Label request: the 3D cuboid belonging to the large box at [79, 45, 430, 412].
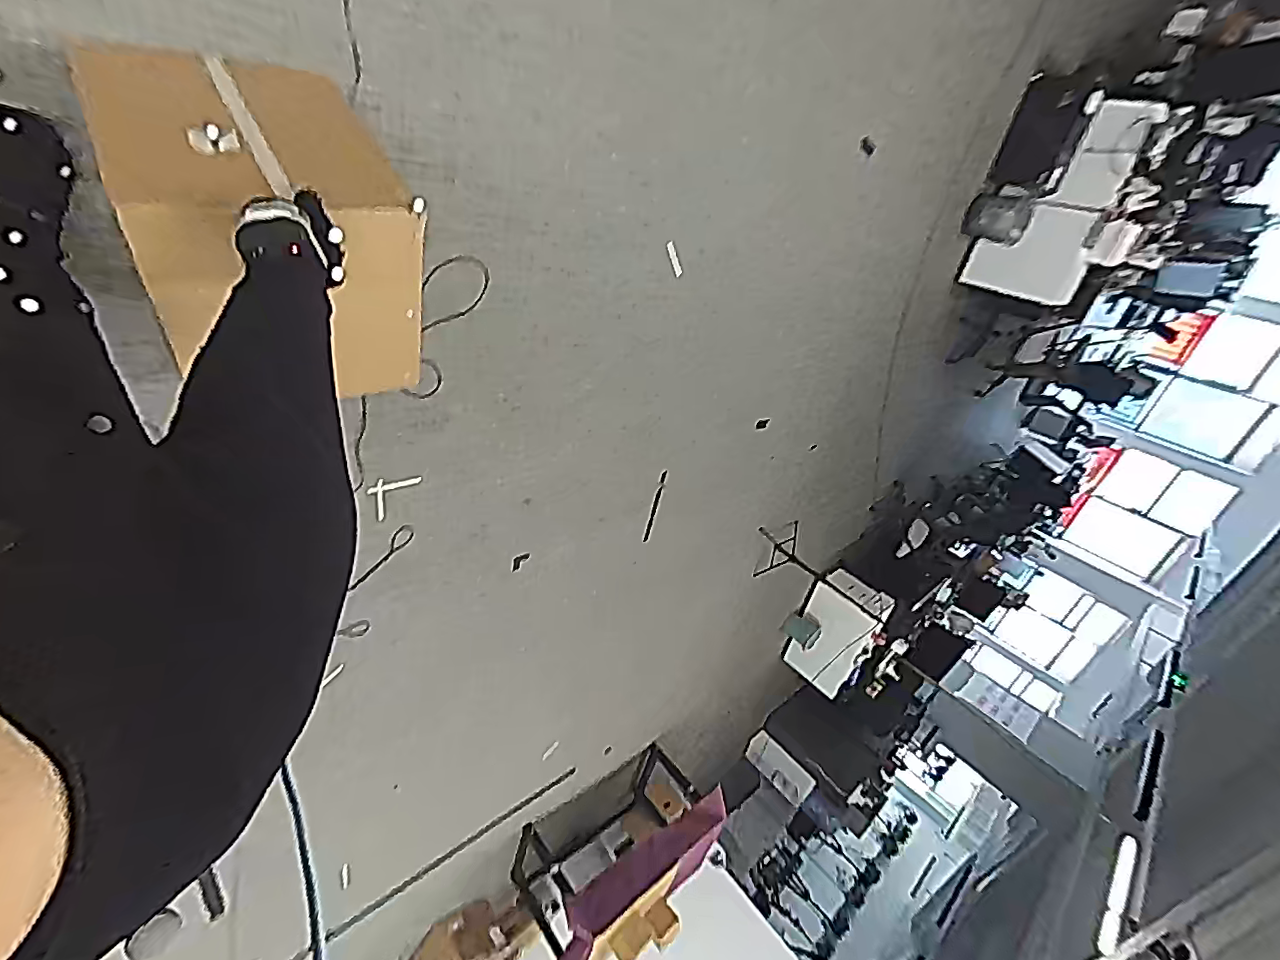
[{"bbox_3d":[-0.559,-0.373,0.829,0.320,0.408,0.320,-20,153,-34],"label":"large box"}]
